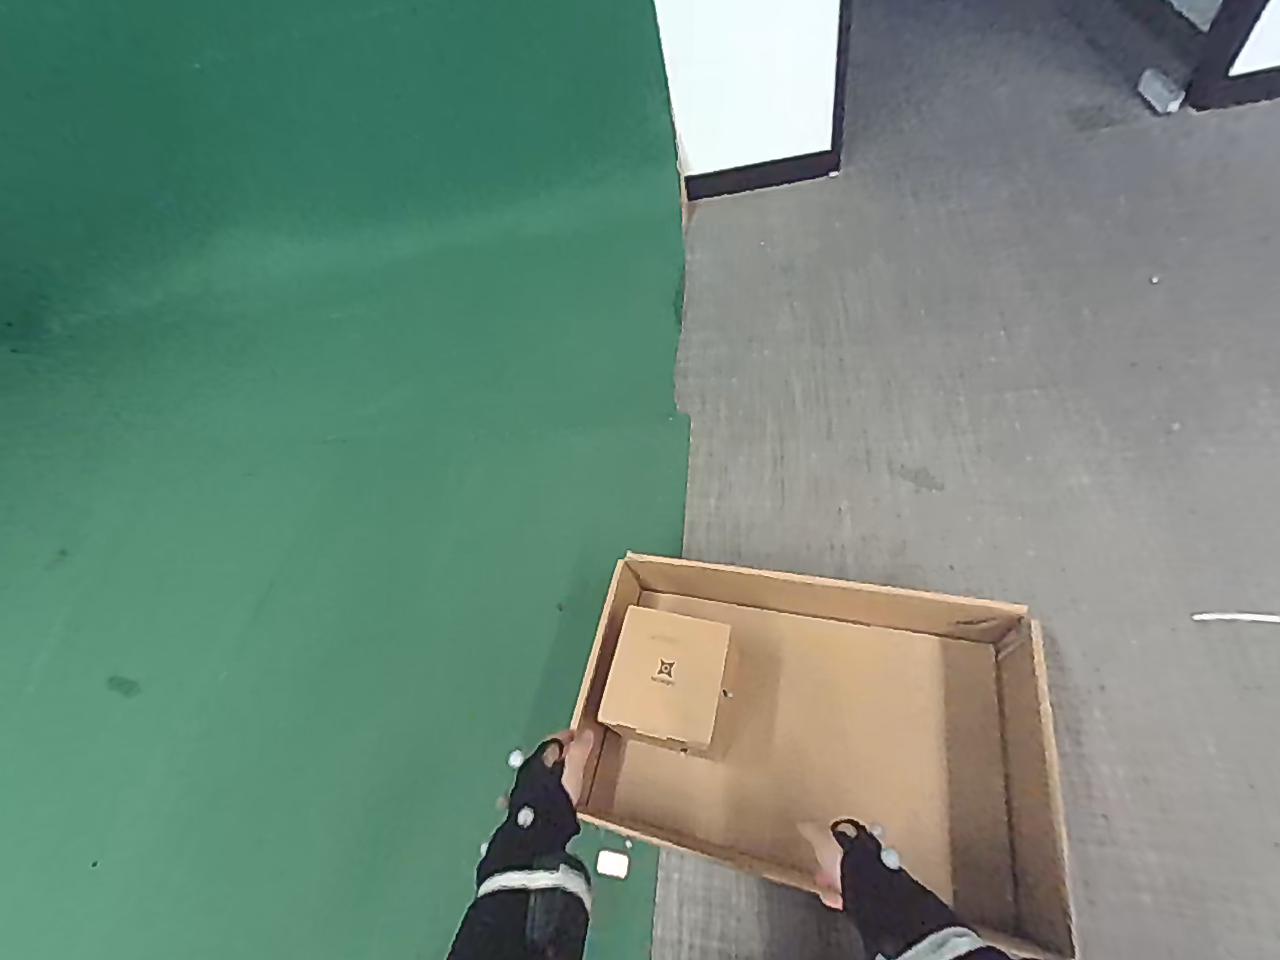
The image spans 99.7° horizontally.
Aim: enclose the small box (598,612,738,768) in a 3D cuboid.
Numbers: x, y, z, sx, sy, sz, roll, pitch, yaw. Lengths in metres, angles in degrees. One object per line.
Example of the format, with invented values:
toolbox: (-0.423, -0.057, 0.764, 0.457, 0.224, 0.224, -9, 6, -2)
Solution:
small box: (0.055, 0.330, 0.839, 0.168, 0.176, 0.179, 7, 59, 18)
